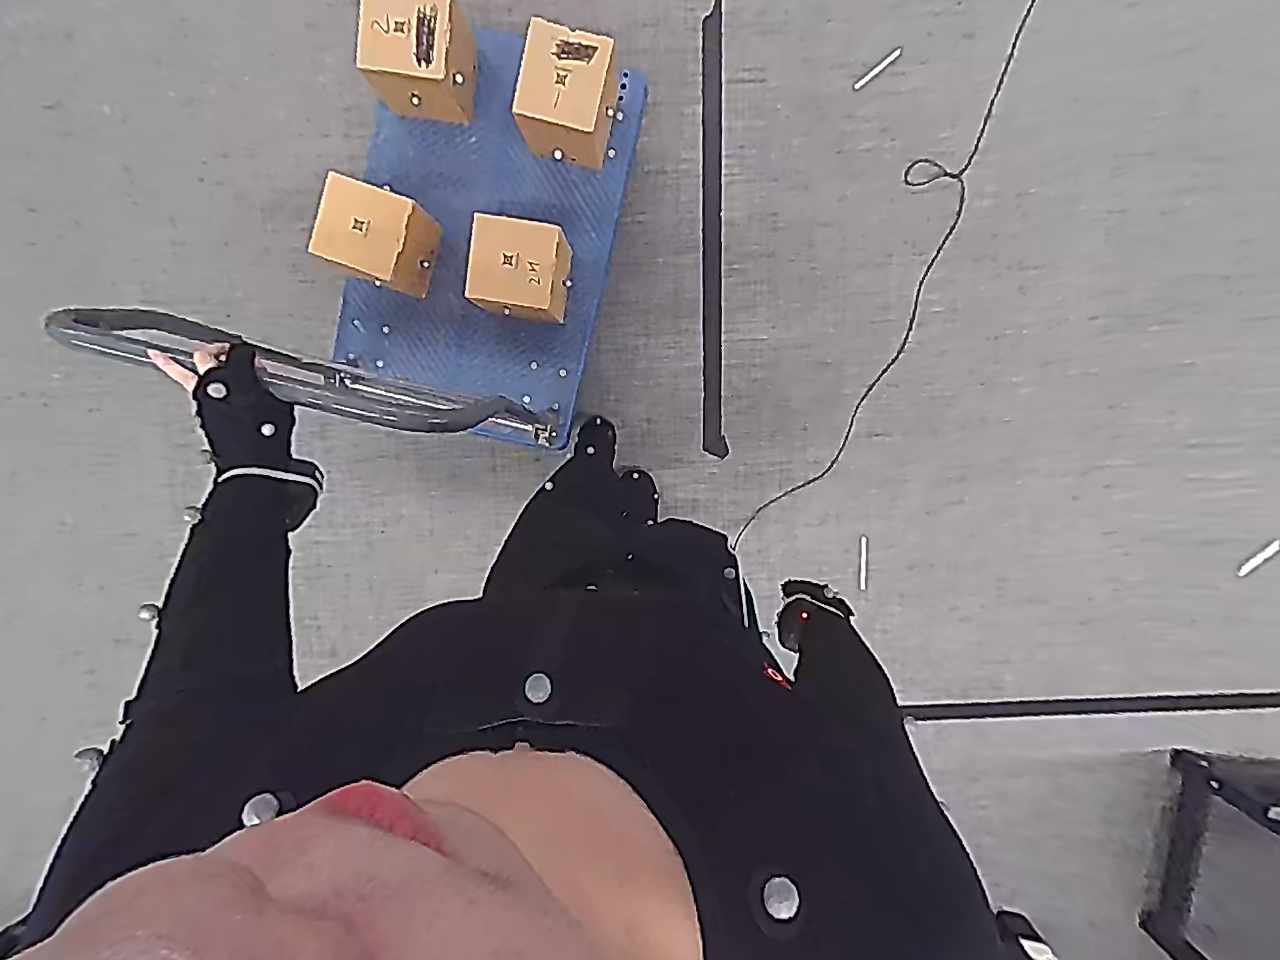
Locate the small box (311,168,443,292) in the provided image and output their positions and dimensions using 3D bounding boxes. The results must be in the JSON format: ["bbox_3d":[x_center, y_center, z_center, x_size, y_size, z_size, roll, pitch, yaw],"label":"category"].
[{"bbox_3d":[-0.548,-0.518,1.150,0.179,0.176,0.168,19,96,-3],"label":"small box"}]

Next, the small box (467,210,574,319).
[{"bbox_3d":[-0.248,-0.450,1.153,0.179,0.176,0.168,9,97,0],"label":"small box"}]

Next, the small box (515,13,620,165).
[{"bbox_3d":[-0.140,-0.791,1.111,0.168,0.176,0.179,15,98,-1],"label":"small box"}]
